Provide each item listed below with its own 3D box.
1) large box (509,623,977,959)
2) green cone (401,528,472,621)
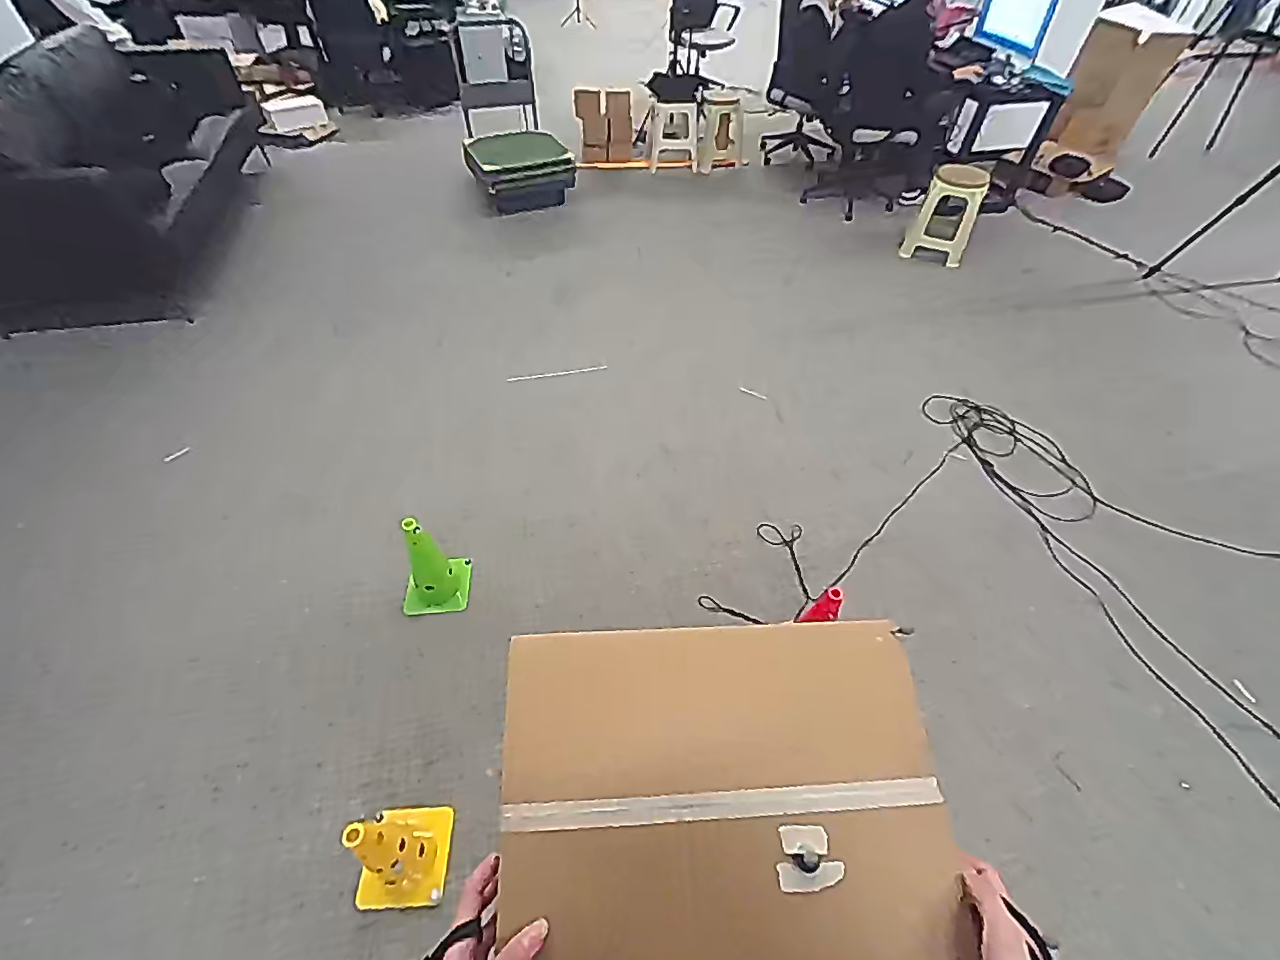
[{"bbox_3d":[0.073,0.364,0.636,0.408,0.320,0.320,-2,66,-4],"label":"large box"},{"bbox_3d":[-0.663,0.261,1.665,0.200,0.368,0.202,-5,51,-5],"label":"green cone"}]
